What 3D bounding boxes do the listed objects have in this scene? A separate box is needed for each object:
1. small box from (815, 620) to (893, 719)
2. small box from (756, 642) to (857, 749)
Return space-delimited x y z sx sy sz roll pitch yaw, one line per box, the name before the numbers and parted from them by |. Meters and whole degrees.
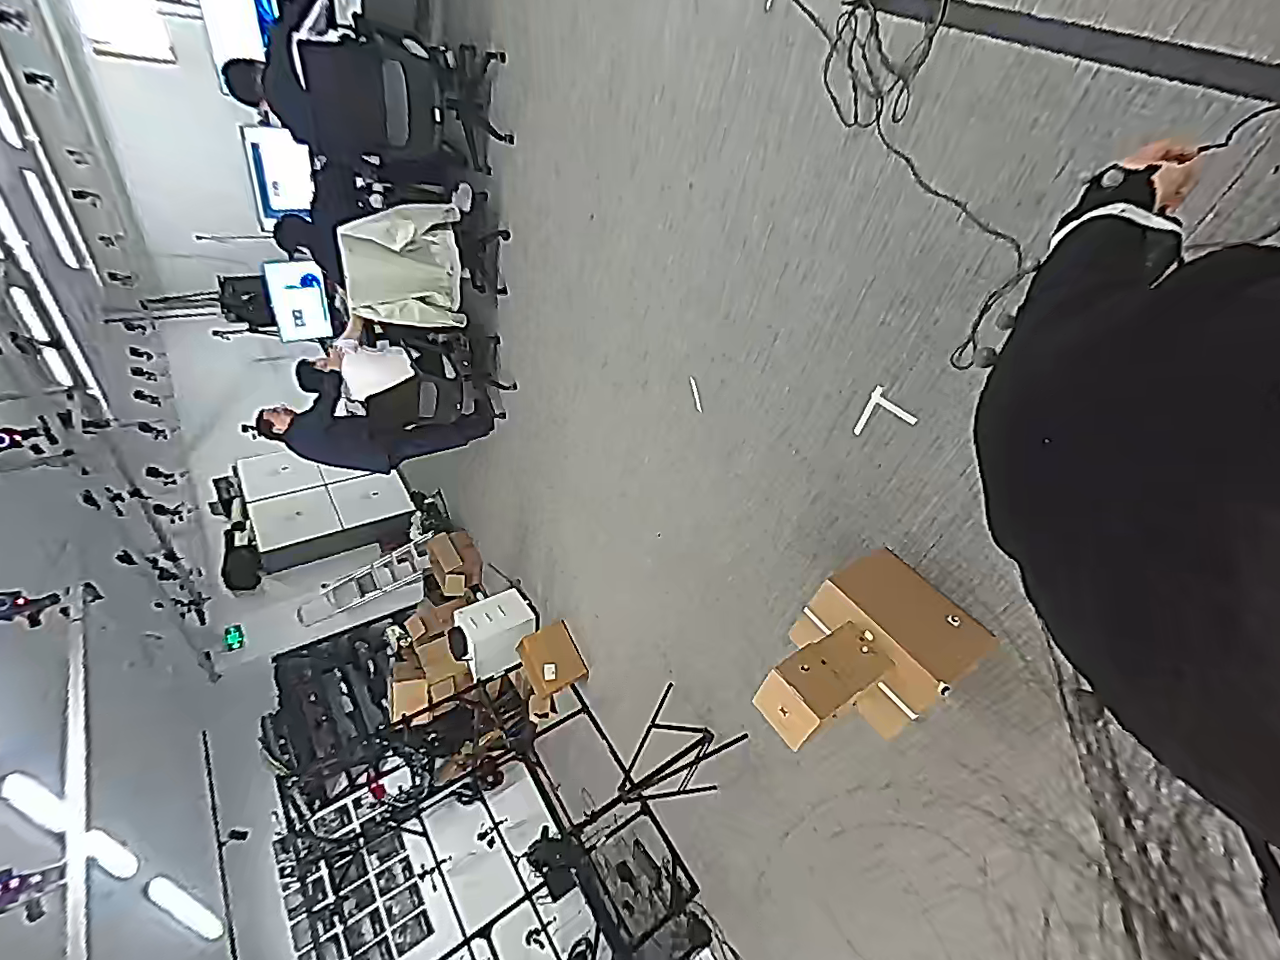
small box | 0.575 0.531 1.527 0.168 0.176 0.179 47 138 33
small box | 0.444 0.566 1.437 0.168 0.176 0.179 47 140 35
